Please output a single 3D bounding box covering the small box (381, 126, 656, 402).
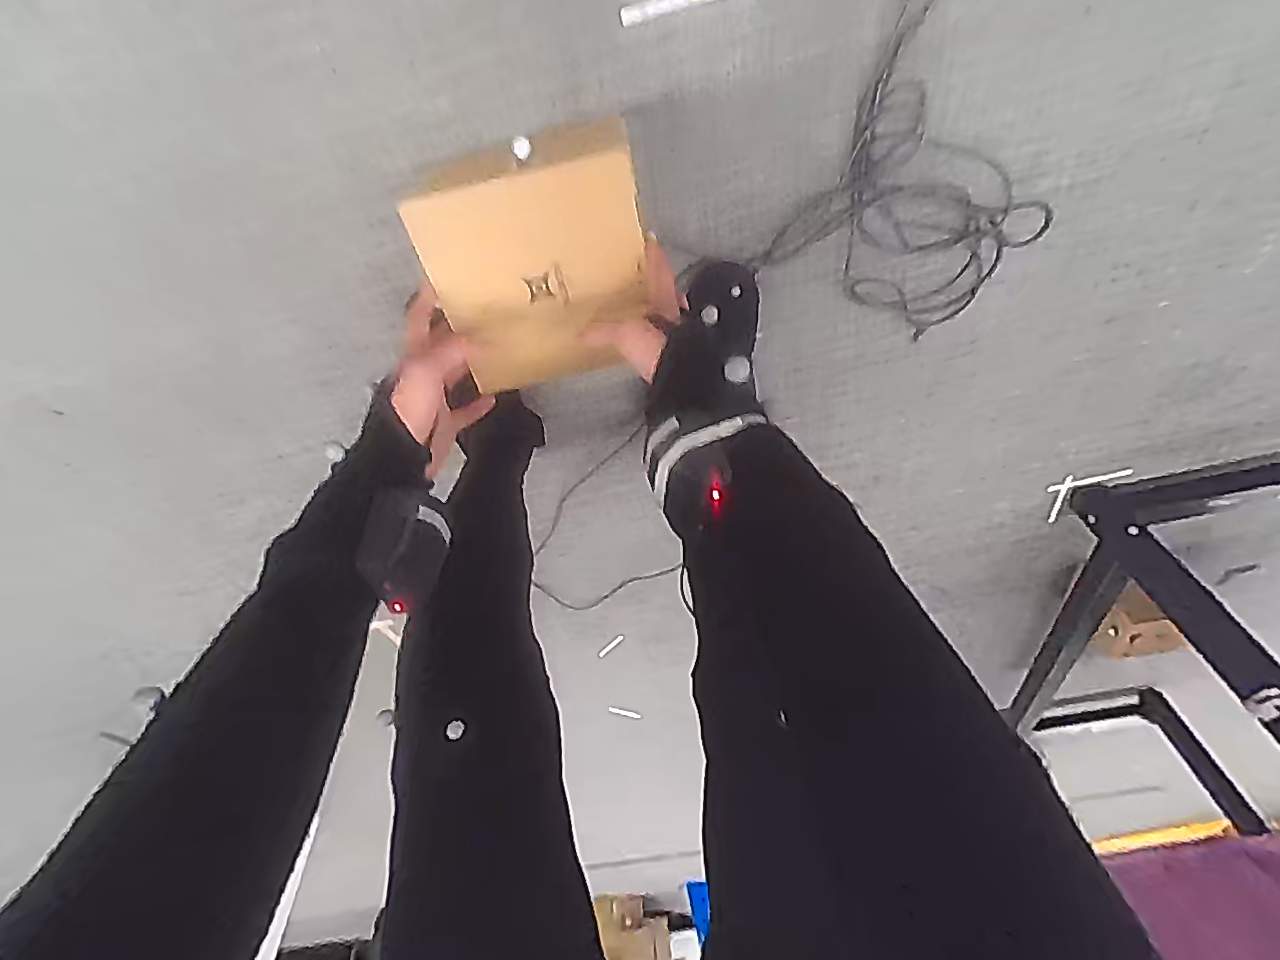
[{"bbox_3d":[-0.089,-0.196,0.484,0.179,0.176,0.168,-12,130,4],"label":"small box"}]
